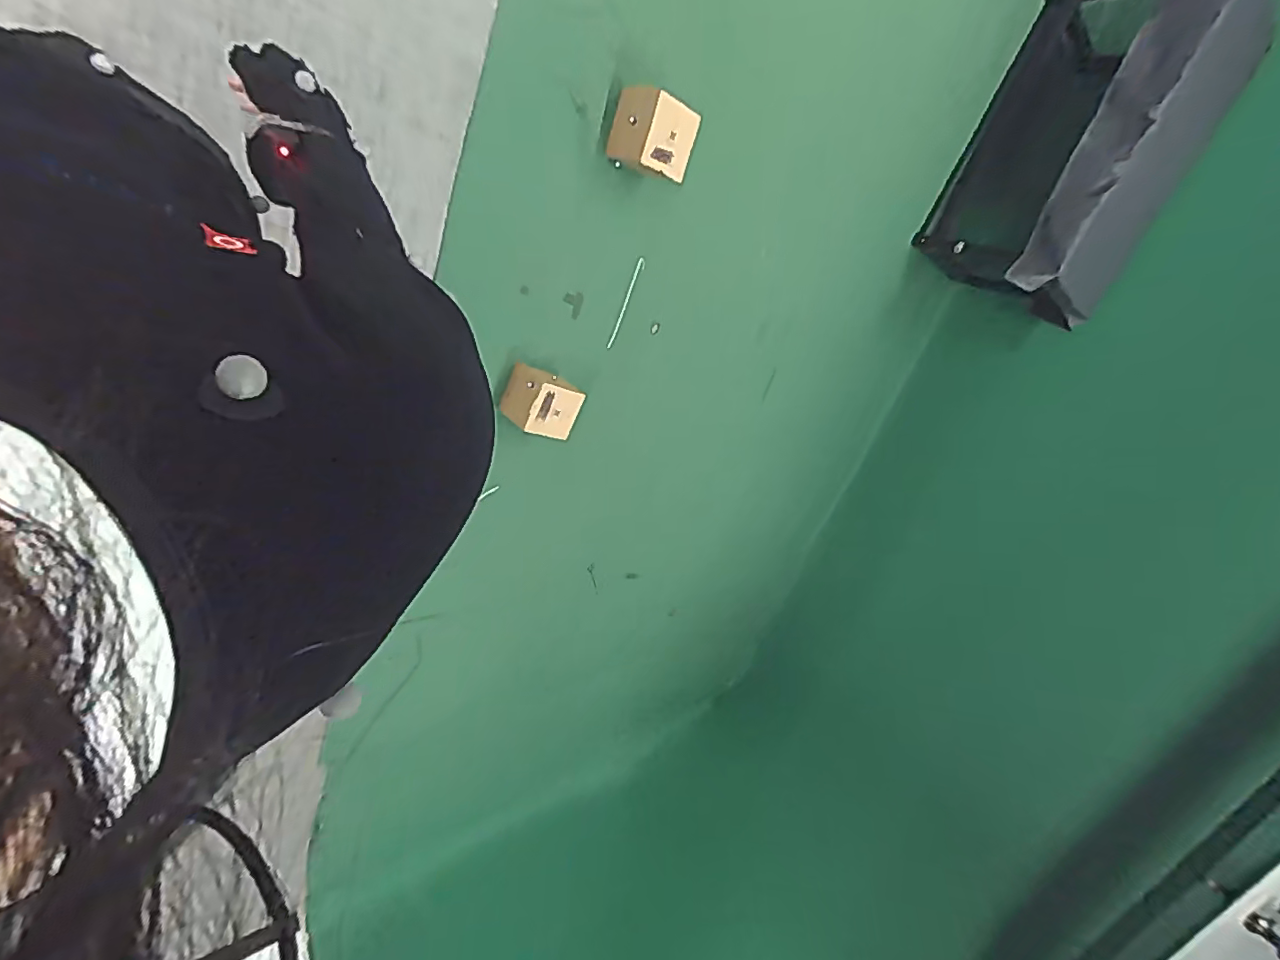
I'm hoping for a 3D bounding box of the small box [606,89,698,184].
[{"bbox_3d":[0.026,-0.964,1.518,0.168,0.176,0.179,-2,119,-45],"label":"small box"}]
